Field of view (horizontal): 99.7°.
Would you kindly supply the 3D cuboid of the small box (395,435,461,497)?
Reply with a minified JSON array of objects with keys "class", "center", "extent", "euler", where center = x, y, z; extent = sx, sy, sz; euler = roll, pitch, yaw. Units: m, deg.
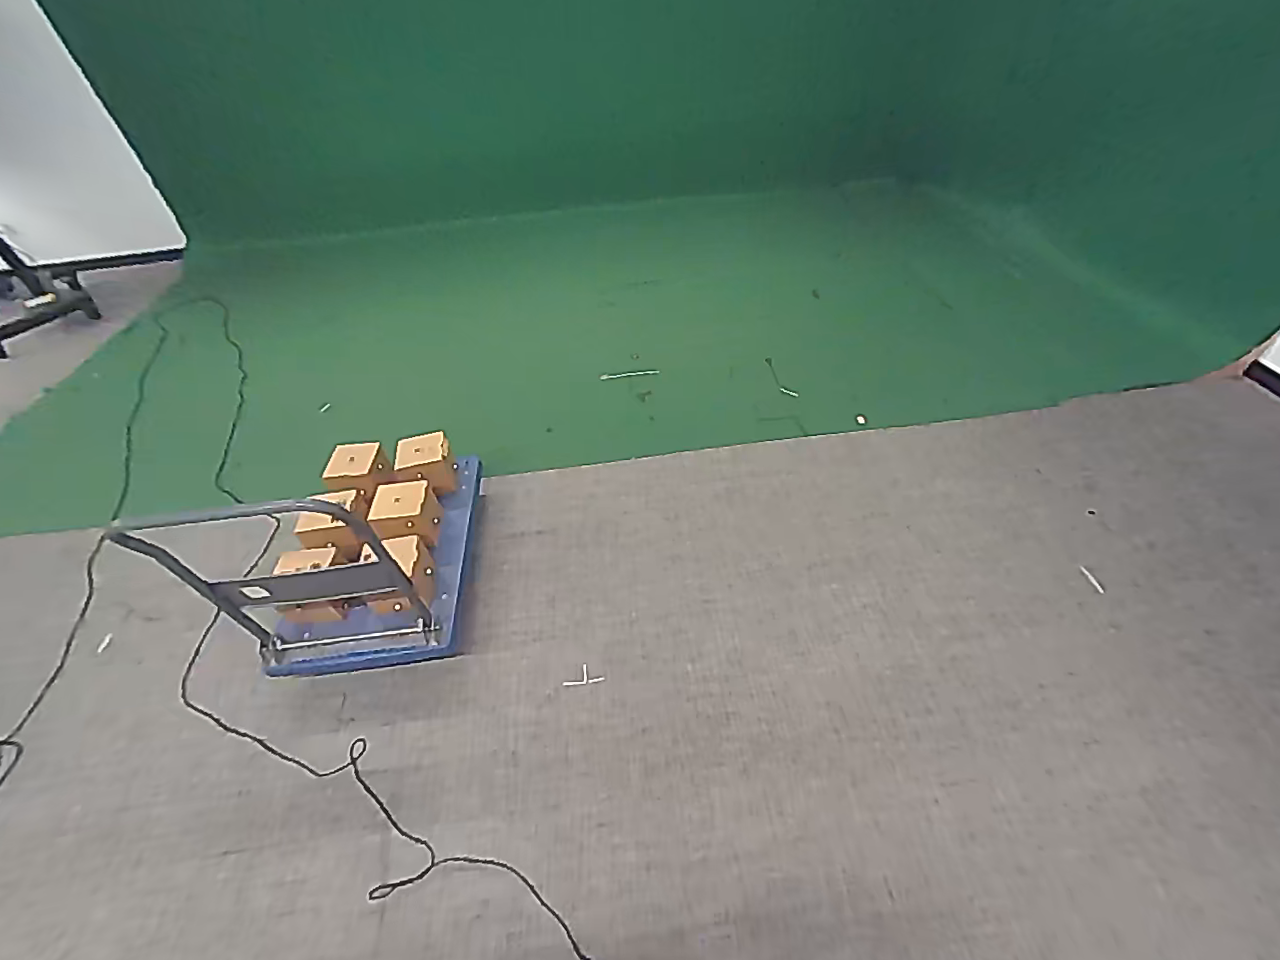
[{"class":"small box","center":[-0.804,-0.050,2.063],"extent":[0.179,0.176,0.168],"euler":[-6,48,-2]}]

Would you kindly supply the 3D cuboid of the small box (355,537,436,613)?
[{"class":"small box","center":[-0.766,0.303,1.717],"extent":[0.179,0.176,0.168],"euler":[-8,45,-3]}]

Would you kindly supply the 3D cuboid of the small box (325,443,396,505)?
[{"class":"small box","center":[-1.055,-0.017,2.060],"extent":[0.168,0.176,0.179],"euler":[-4,46,0]}]

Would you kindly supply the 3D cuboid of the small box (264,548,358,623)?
[{"class":"small box","center":[-1.027,0.335,1.711],"extent":[0.179,0.176,0.168],"euler":[-5,45,1]}]
